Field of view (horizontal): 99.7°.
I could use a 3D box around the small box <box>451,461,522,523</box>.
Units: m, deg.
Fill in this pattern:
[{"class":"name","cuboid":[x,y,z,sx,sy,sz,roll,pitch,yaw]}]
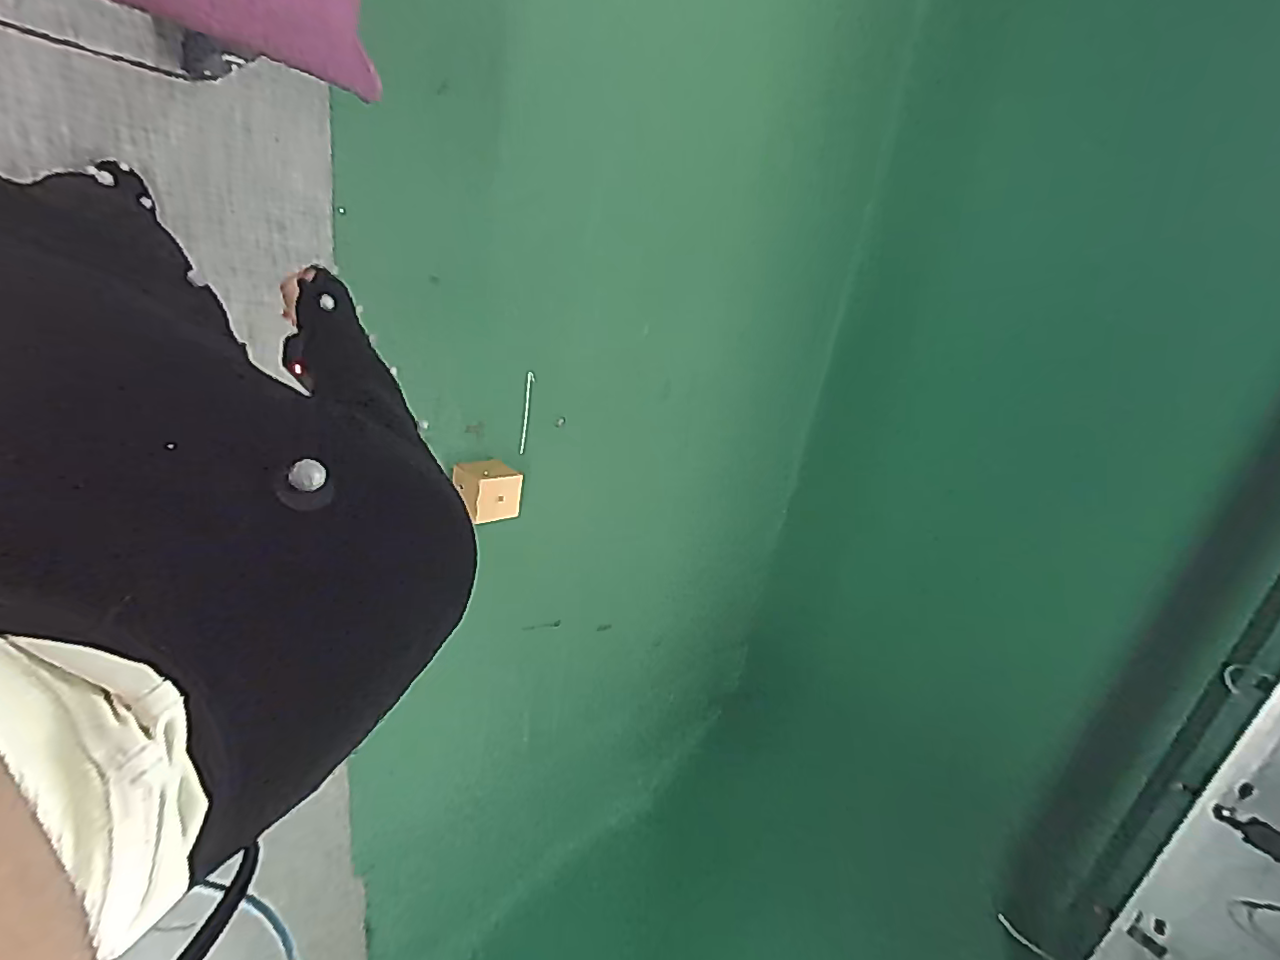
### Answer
[{"class":"small box","cuboid":[-0.550,0.036,1.933,0.179,0.176,0.168,-10,118,-46]}]
